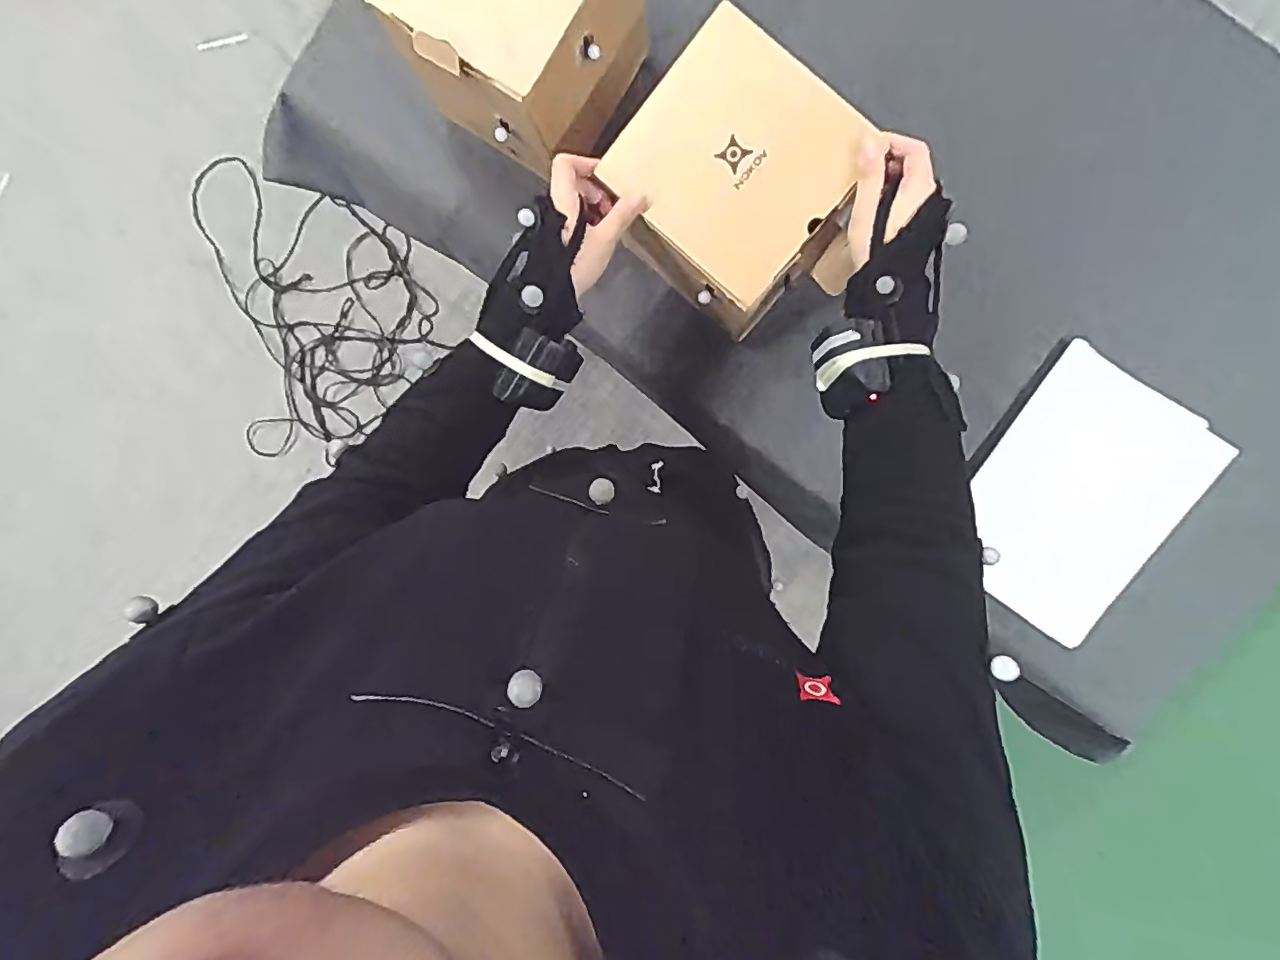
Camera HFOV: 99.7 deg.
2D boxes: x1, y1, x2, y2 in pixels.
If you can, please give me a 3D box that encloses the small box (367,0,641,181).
[{"bbox_3d":[-0.110,-0.432,0.516,0.168,0.176,0.179,33,95,1],"label":"small box"}]
